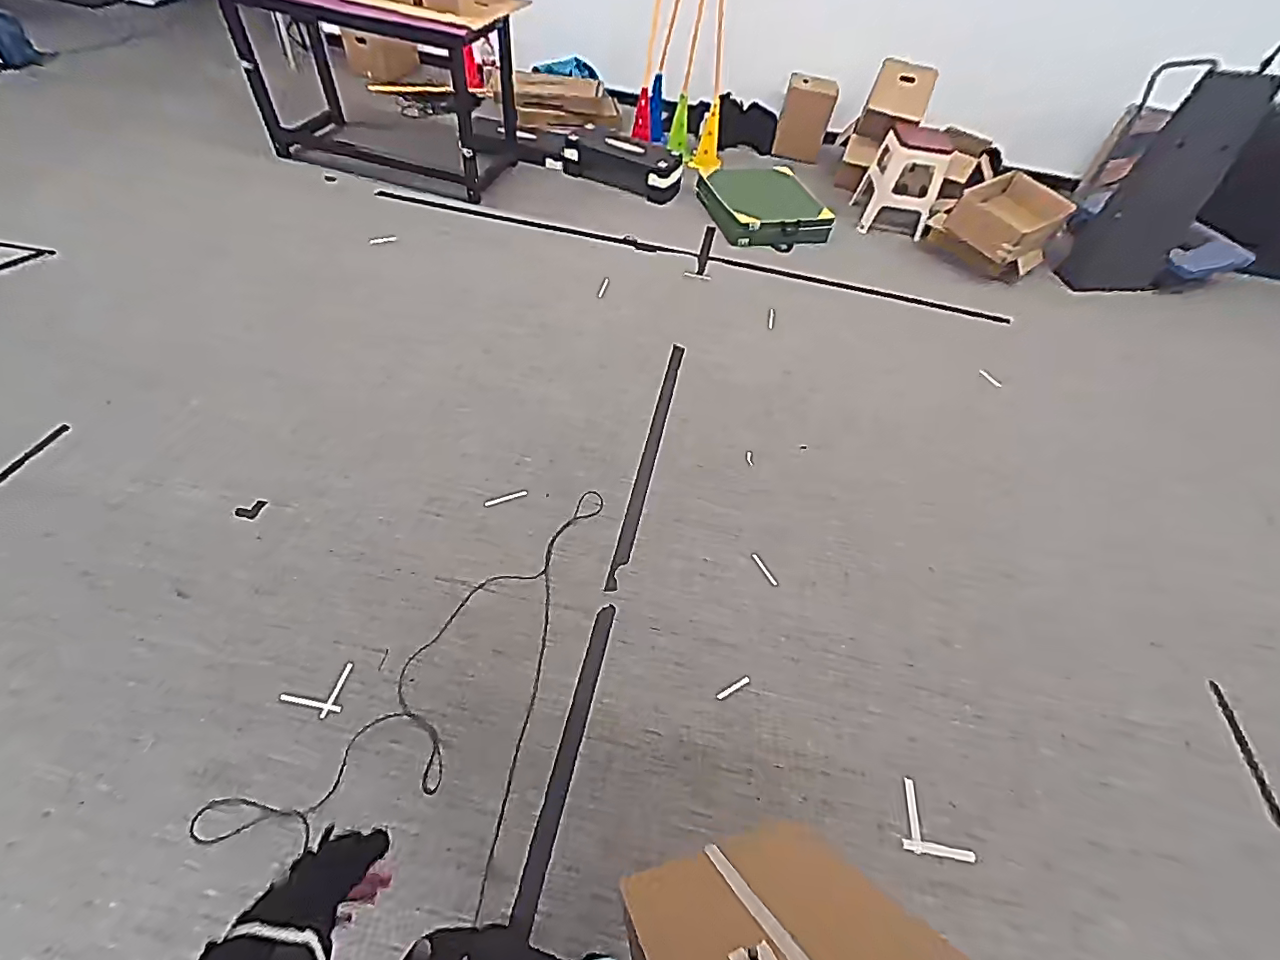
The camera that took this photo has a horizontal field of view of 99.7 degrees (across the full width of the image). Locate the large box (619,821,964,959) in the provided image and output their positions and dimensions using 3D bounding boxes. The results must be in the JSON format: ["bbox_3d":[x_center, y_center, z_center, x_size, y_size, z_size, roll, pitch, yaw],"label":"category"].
[{"bbox_3d":[0.190,0.713,0.673,0.320,0.408,0.320,-10,82,-16],"label":"large box"}]
